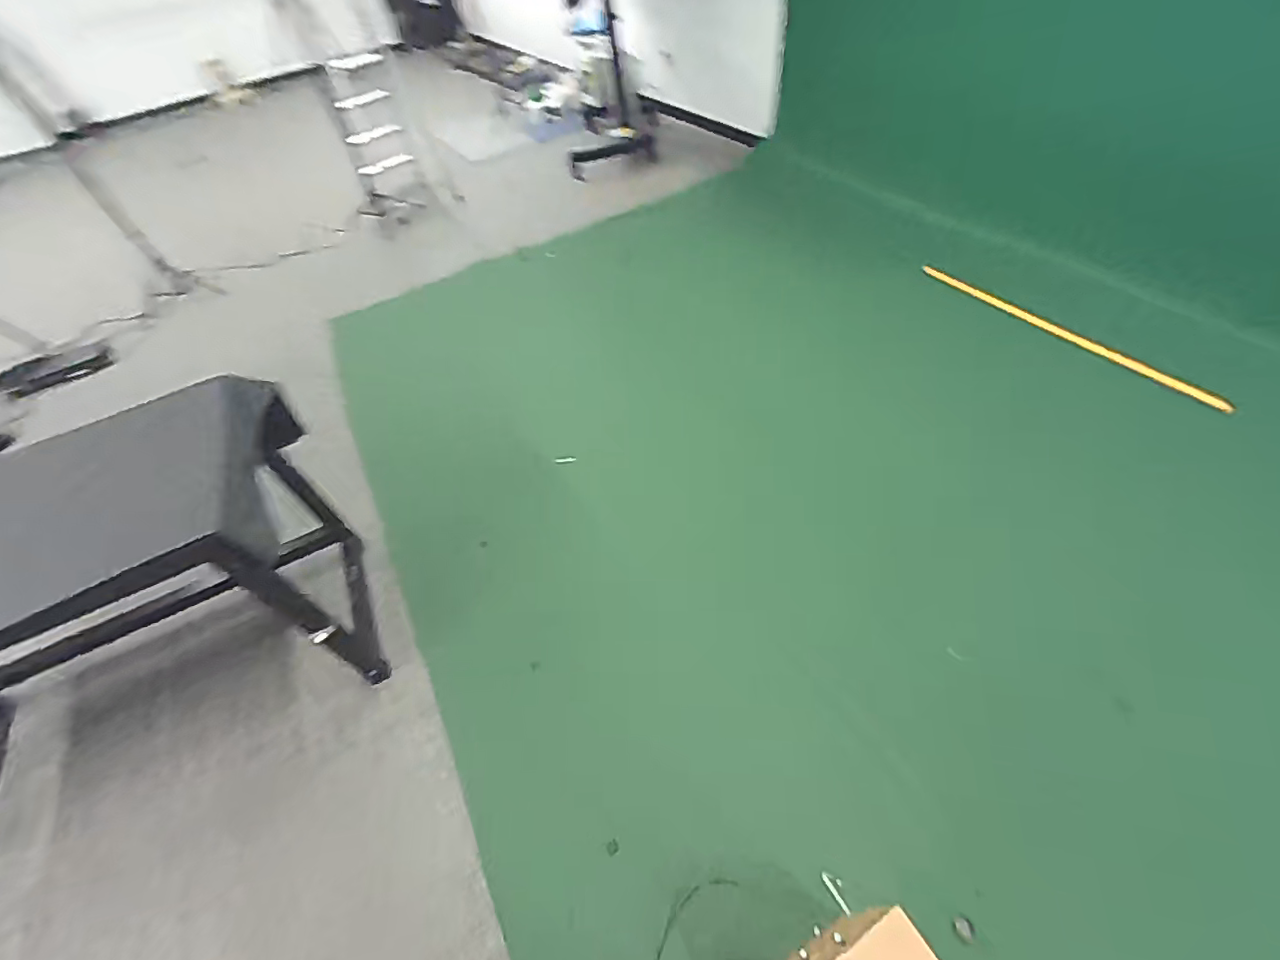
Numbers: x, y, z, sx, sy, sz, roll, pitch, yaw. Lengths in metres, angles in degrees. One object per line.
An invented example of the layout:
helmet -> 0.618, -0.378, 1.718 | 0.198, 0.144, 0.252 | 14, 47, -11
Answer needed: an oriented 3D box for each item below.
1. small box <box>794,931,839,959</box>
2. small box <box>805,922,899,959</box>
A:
small box -> 0.350, 0.940, 0.963 | 0.179, 0.176, 0.168 | -25, 49, -14
small box -> 0.336, 0.832, 0.842 | 0.179, 0.176, 0.168 | -26, 51, -15
